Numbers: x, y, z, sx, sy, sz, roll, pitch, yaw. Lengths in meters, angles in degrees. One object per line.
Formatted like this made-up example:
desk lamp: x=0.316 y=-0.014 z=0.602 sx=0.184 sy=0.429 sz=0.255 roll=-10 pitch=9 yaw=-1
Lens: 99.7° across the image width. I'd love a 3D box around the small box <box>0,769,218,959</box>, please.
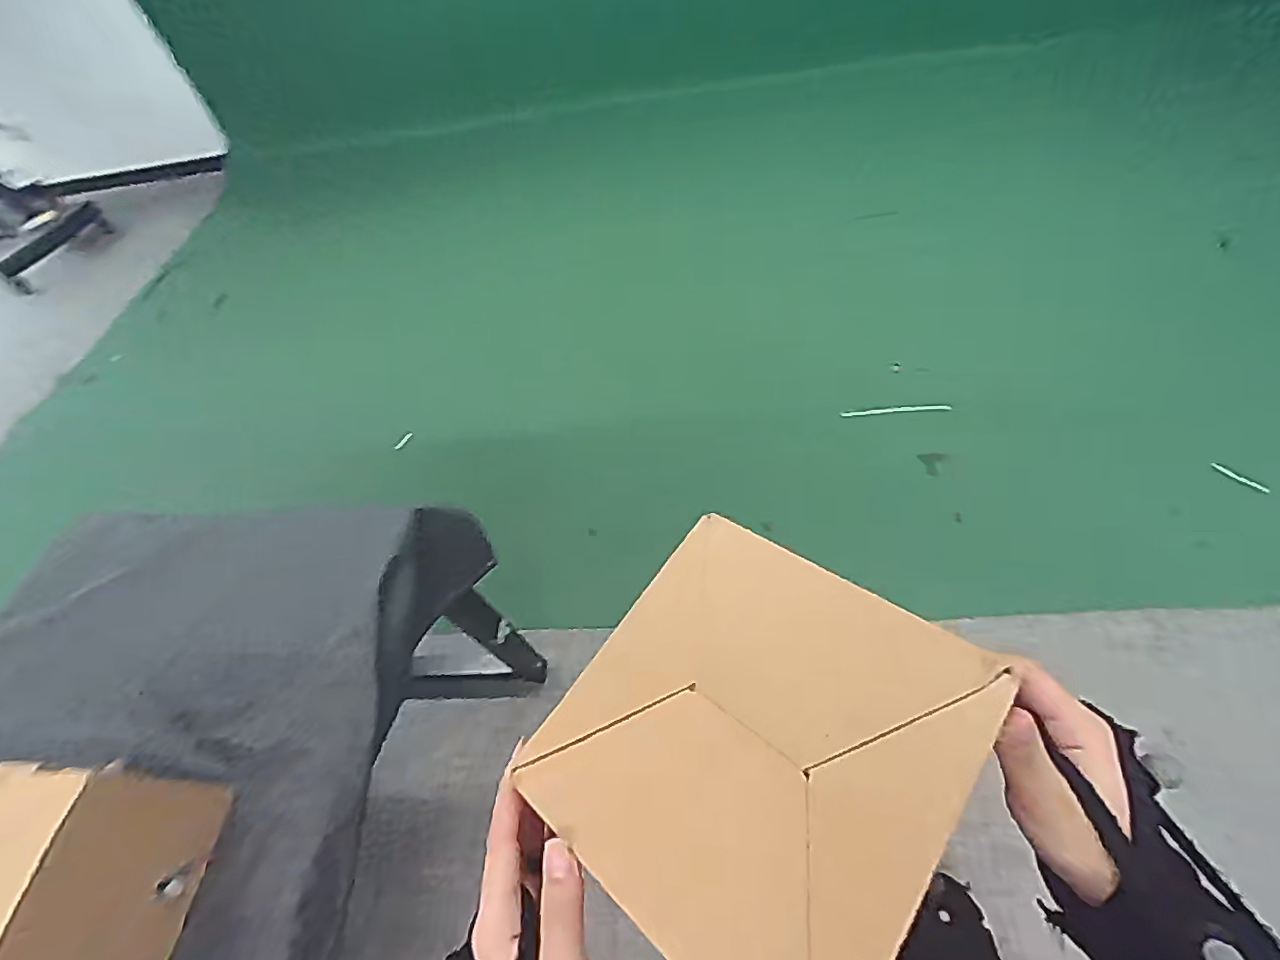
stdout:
small box: x=-0.539 y=0.371 z=0.487 sx=0.168 sy=0.176 sz=0.179 roll=-3 pitch=55 yaw=8
